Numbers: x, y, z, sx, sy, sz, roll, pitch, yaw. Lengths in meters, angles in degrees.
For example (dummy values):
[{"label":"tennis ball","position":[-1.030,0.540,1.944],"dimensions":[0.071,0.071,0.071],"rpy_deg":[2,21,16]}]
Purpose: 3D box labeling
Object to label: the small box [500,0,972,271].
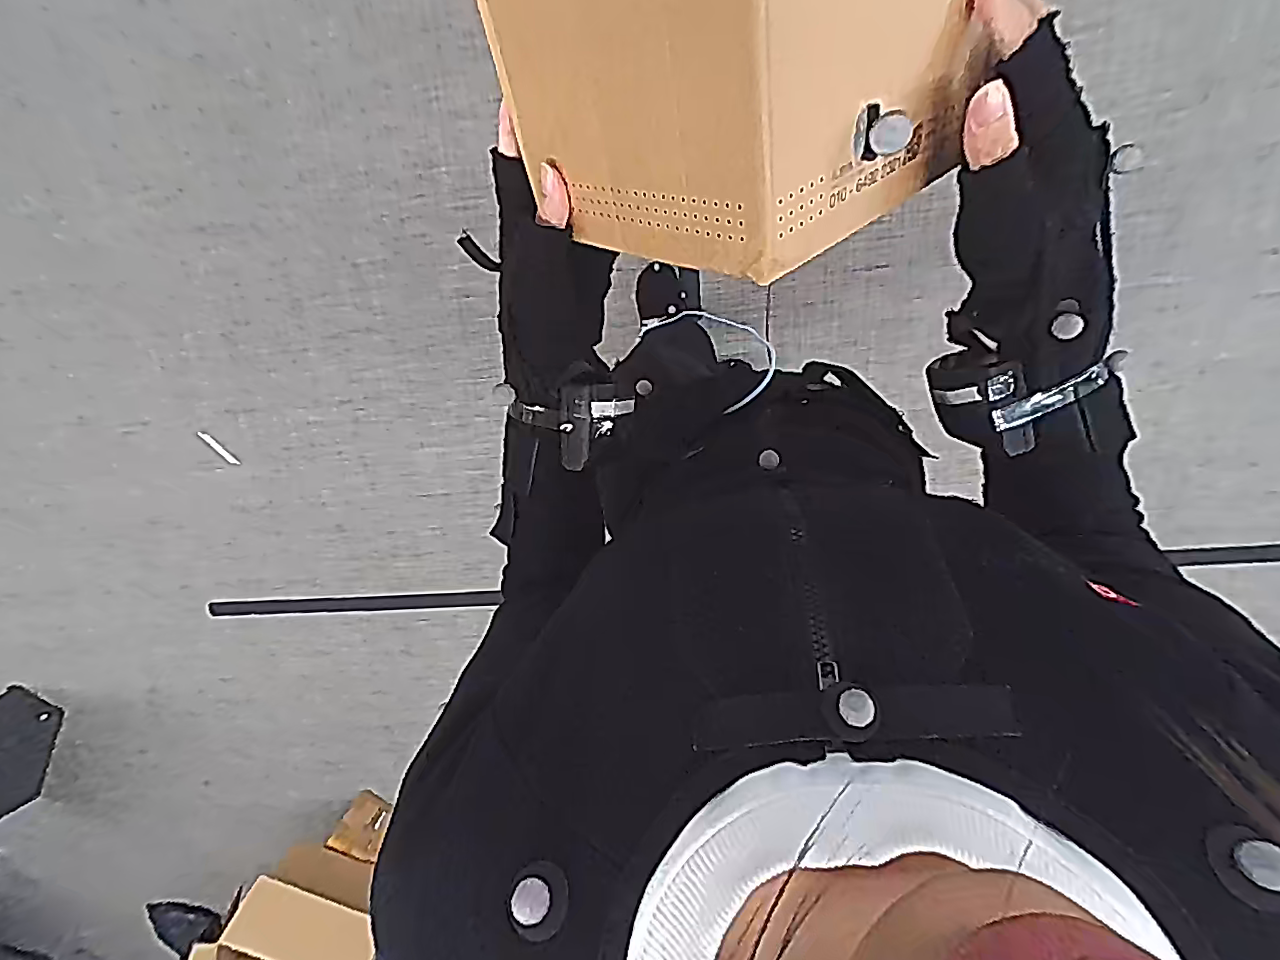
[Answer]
[{"label":"small box","position":[0.042,-0.225,0.275],"dimensions":[0.168,0.179,0.176],"rpy_deg":[-37,136,-22]}]
